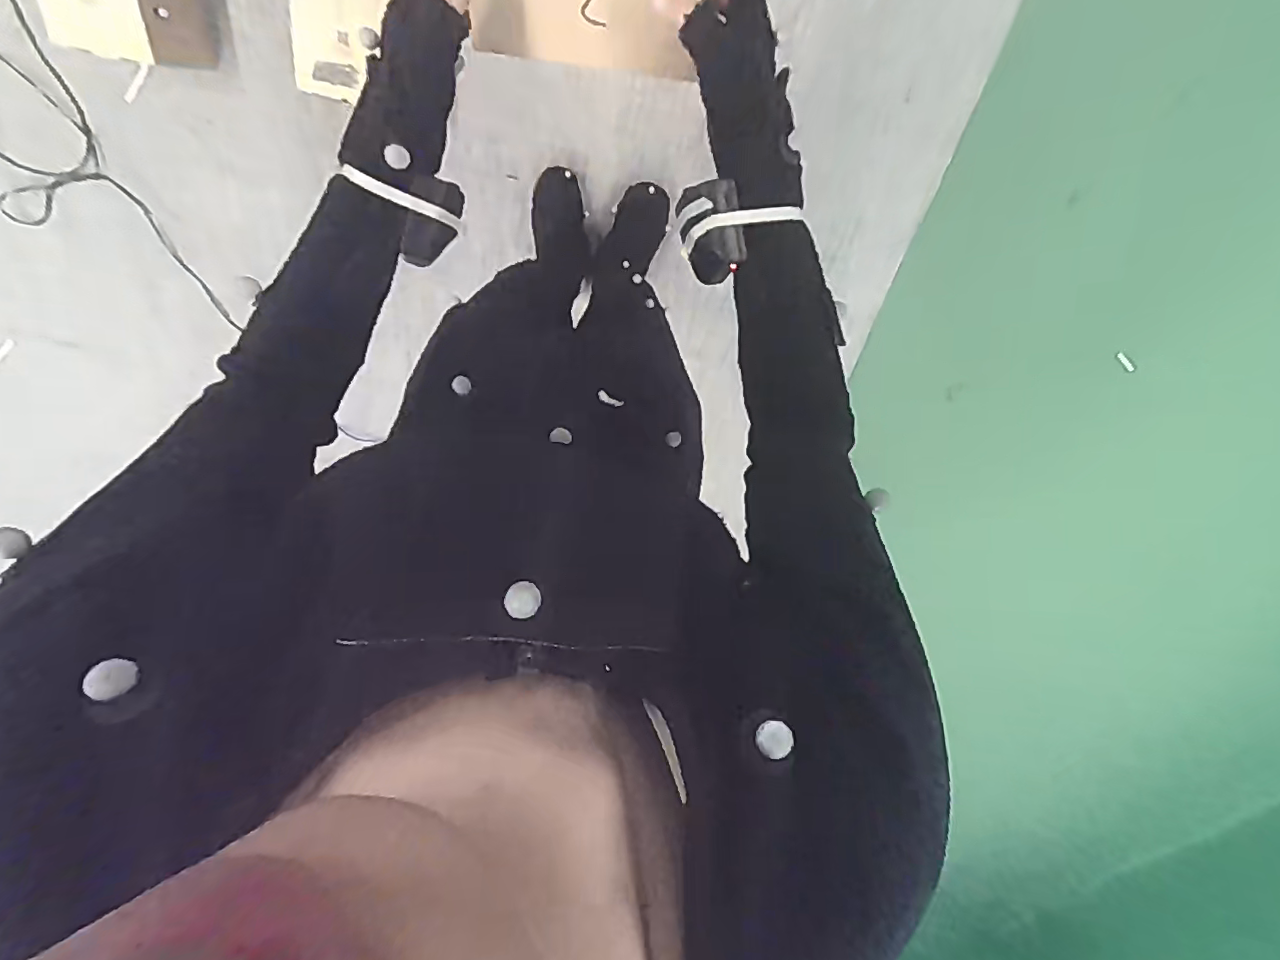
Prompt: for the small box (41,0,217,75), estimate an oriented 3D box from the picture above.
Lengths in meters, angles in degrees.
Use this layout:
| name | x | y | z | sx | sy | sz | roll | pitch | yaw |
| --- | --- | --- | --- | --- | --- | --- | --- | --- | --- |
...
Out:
| name | x | y | z | sx | sy | sz | roll | pitch | yaw |
| --- | --- | --- | --- | --- | --- | --- | --- | --- | --- |
| small box | -0.902 | -0.841 | 0.954 | 0.168 | 0.176 | 0.179 | 9 | 125 | -5 |
